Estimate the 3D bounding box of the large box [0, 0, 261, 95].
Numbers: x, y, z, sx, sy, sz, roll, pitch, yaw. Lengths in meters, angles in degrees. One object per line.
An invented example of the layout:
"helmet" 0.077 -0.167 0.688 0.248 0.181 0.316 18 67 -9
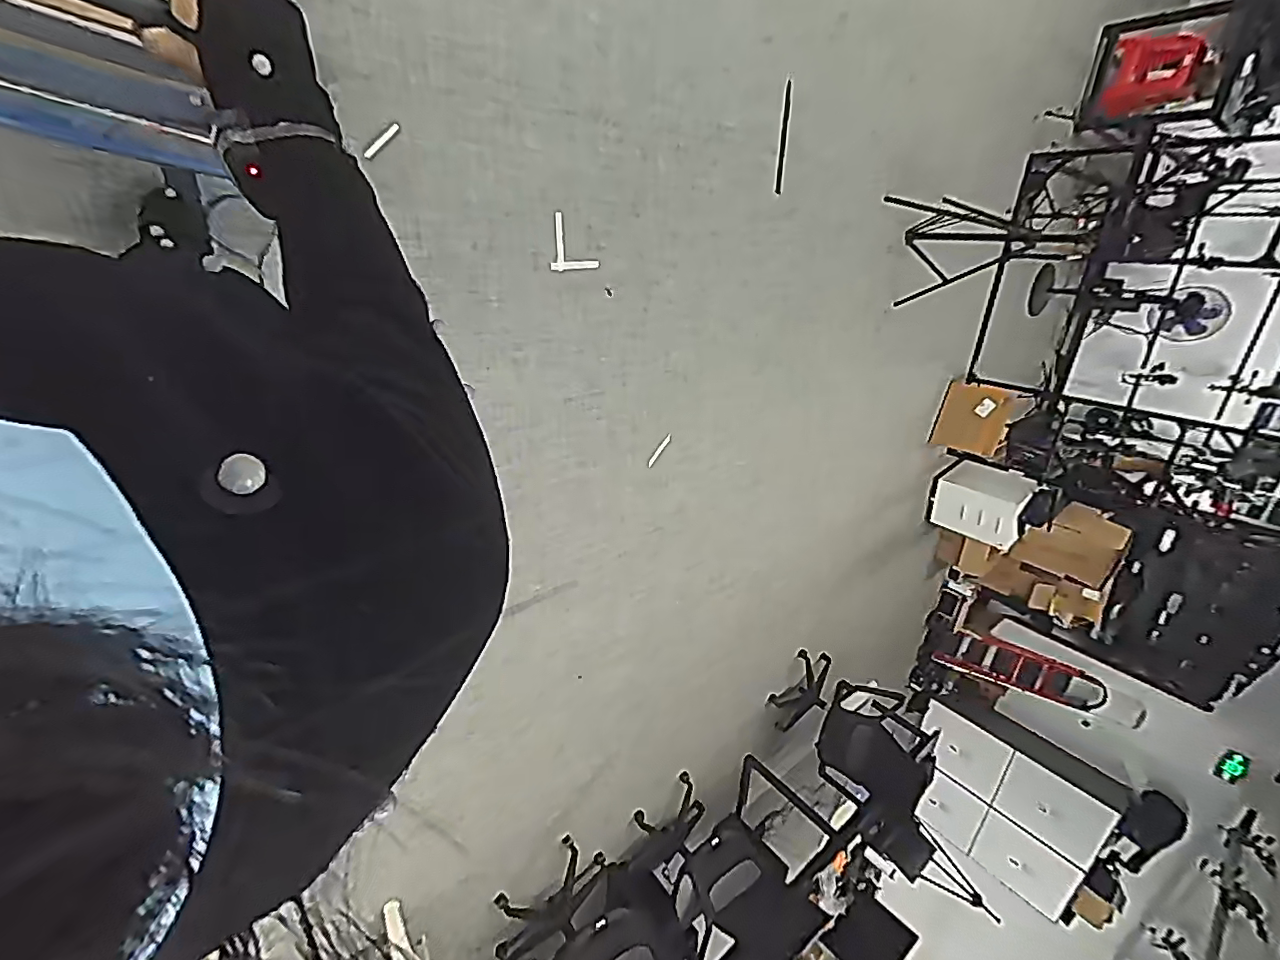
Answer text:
"large box" -0.748 -0.736 0.665 0.408 0.320 0.320 -10 116 -41
